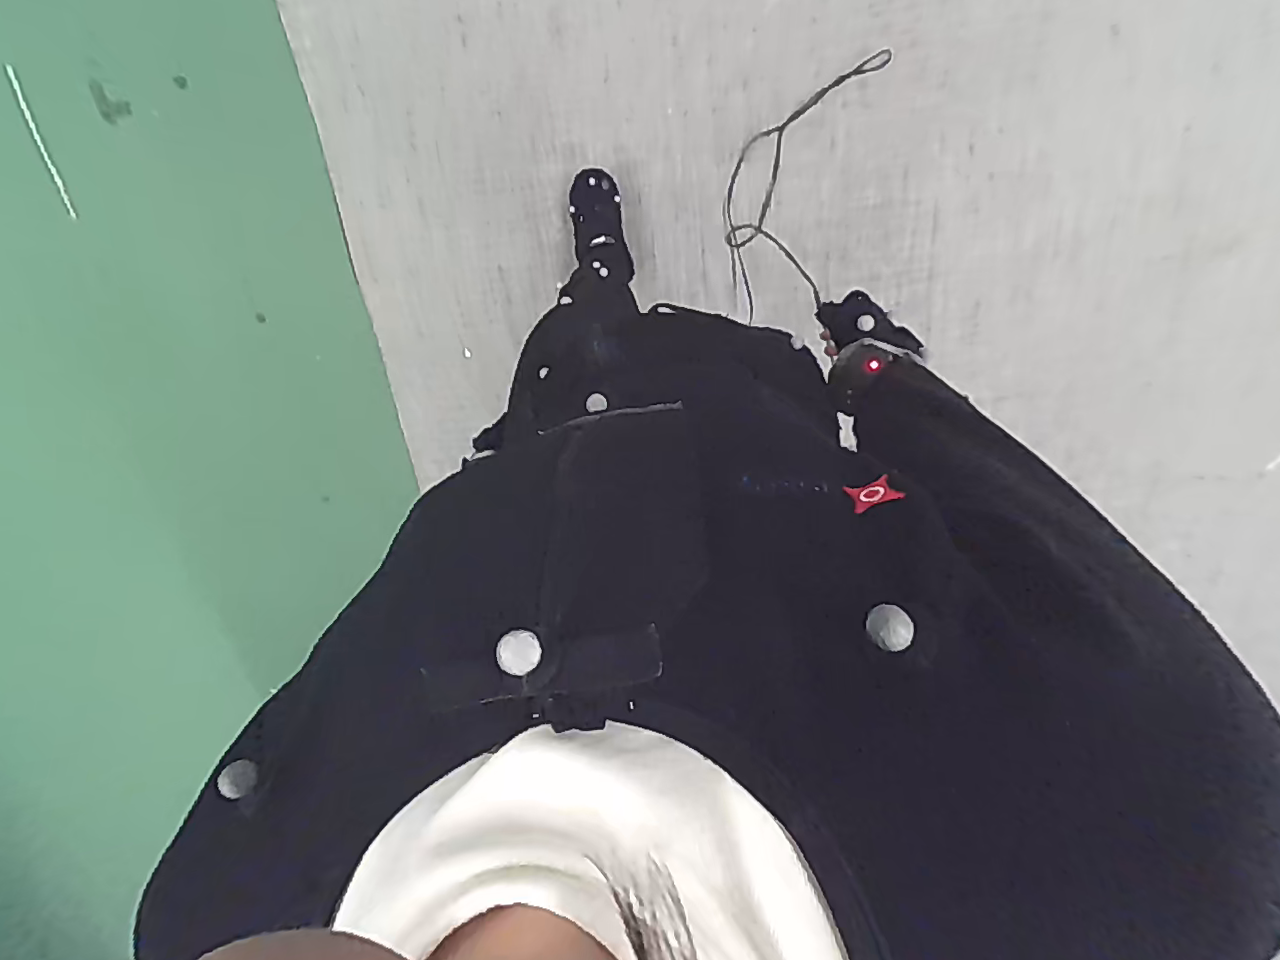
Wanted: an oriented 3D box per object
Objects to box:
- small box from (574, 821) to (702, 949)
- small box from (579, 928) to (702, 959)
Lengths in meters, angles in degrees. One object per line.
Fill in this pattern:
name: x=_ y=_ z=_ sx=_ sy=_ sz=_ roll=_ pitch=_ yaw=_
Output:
small box: x=0.007 y=0.692 z=0.887 sx=0.179 sy=0.176 sz=0.168 roll=-7 pitch=112 yaw=9
small box: x=-0.002 y=0.751 z=0.734 sx=0.179 sy=0.176 sz=0.168 roll=-3 pitch=113 yaw=6
